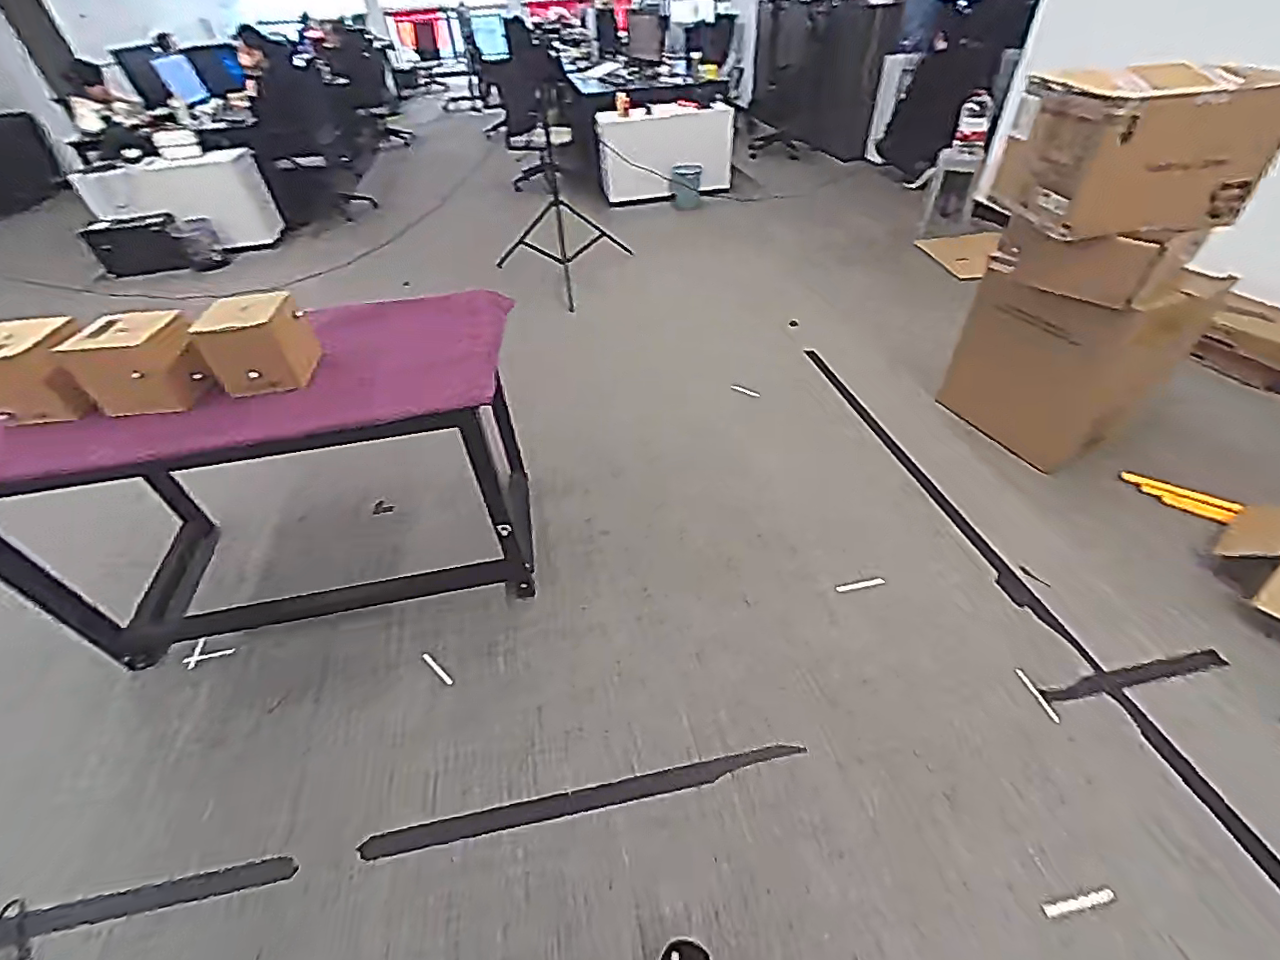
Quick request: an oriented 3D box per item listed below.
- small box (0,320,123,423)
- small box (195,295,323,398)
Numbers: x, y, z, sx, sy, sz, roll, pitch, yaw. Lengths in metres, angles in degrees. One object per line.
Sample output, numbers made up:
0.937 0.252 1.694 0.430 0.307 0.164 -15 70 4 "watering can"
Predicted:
-1.351 -0.240 1.229 0.168 0.176 0.179 -6 43 -2 "small box"
-0.882 -0.315 1.275 0.168 0.176 0.179 -9 43 -5 "small box"
